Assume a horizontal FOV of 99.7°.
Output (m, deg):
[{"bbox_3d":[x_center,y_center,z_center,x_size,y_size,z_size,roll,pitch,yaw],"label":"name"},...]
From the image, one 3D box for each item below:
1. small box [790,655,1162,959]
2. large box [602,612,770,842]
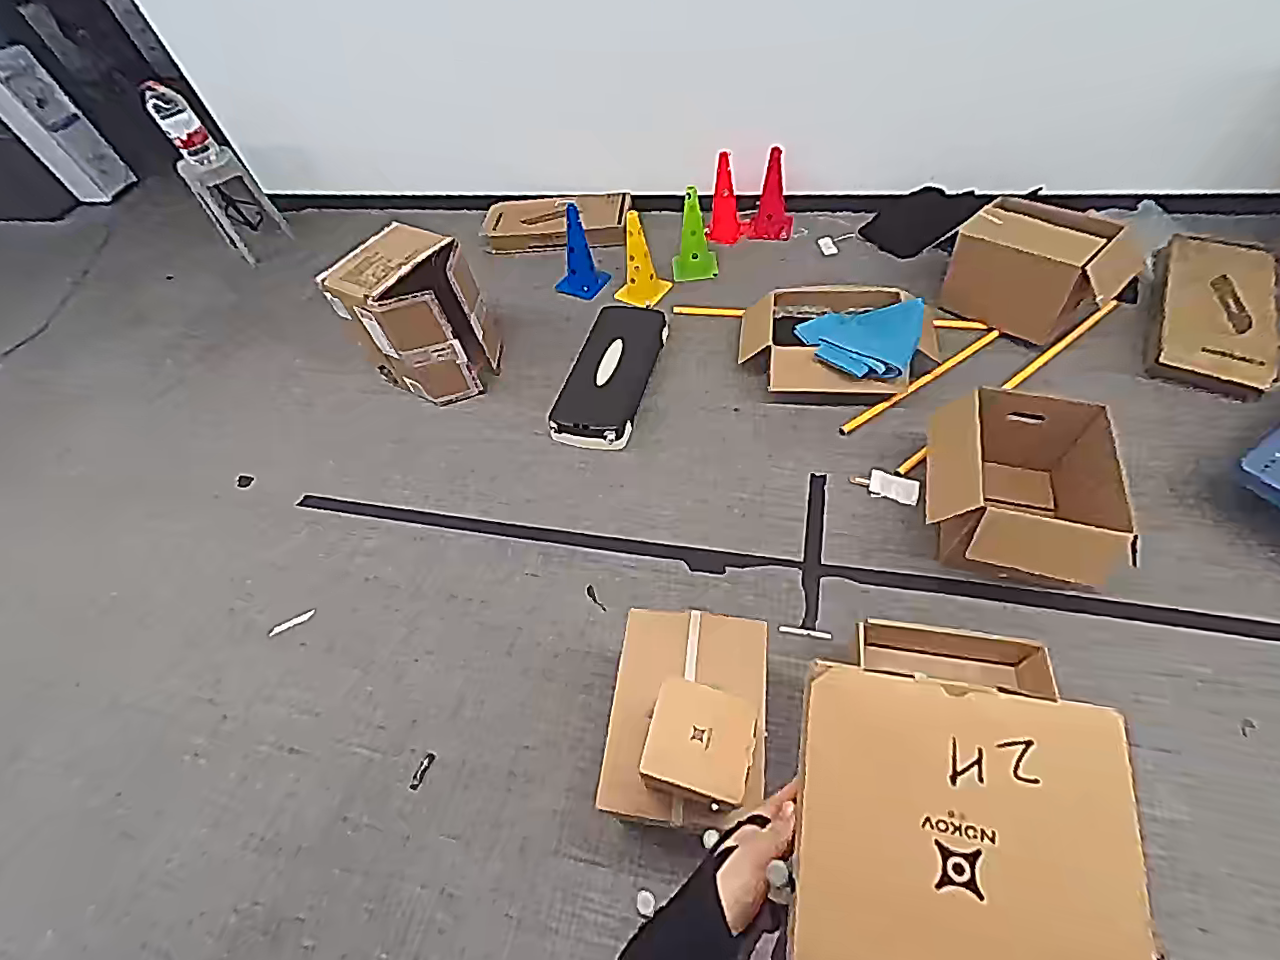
[{"bbox_3d":[0.192,0.228,0.357,0.168,0.176,0.179,5,67,17],"label":"small box"},{"bbox_3d":[0.118,0.550,1.217,0.320,0.320,0.408,3,56,11],"label":"large box"}]
